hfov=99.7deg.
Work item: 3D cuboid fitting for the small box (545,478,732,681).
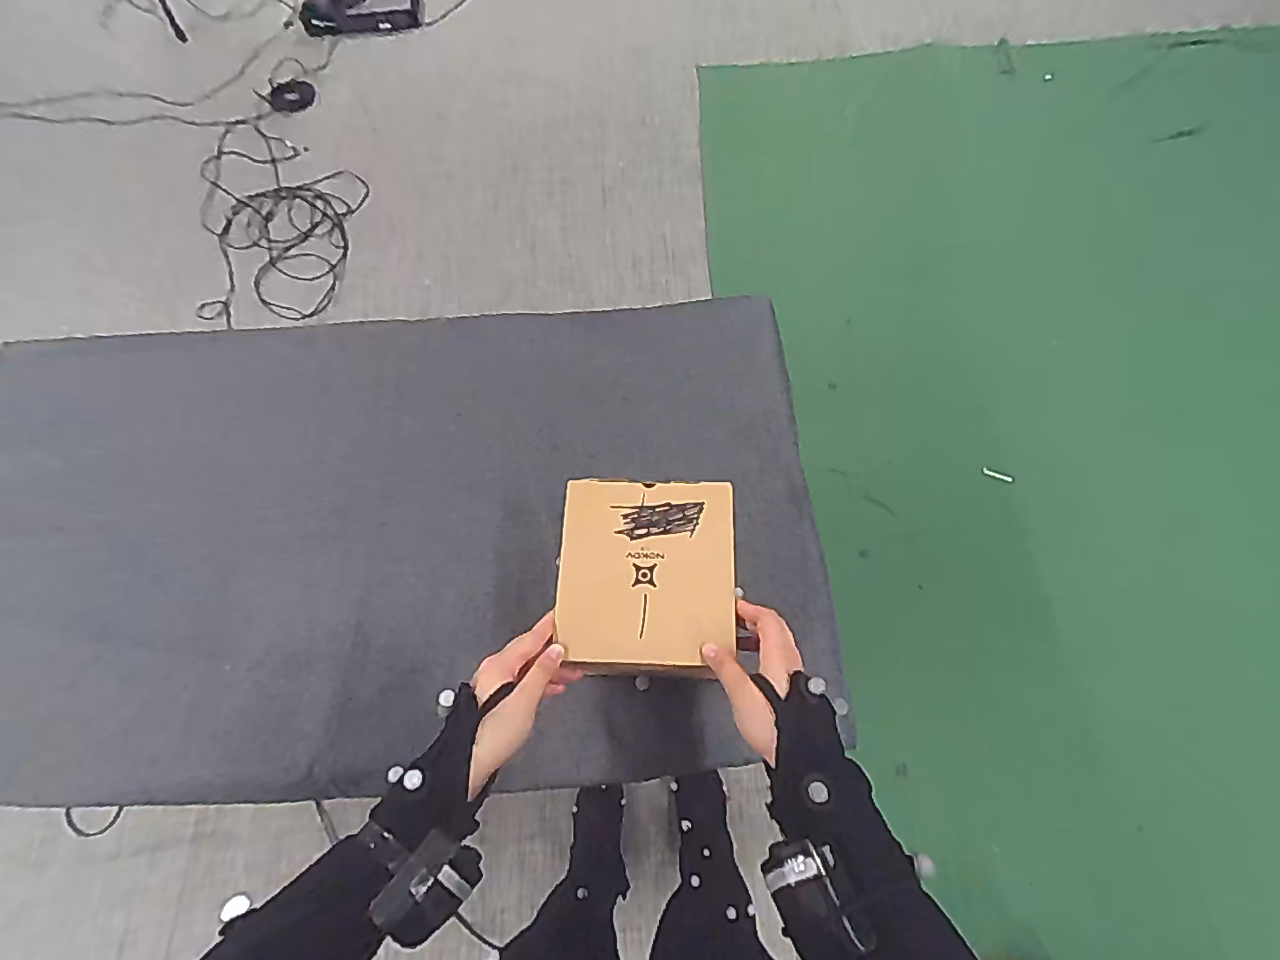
[{"bbox_3d":[0.006,0.111,0.572,0.168,0.176,0.179,1,67,5],"label":"small box"}]
